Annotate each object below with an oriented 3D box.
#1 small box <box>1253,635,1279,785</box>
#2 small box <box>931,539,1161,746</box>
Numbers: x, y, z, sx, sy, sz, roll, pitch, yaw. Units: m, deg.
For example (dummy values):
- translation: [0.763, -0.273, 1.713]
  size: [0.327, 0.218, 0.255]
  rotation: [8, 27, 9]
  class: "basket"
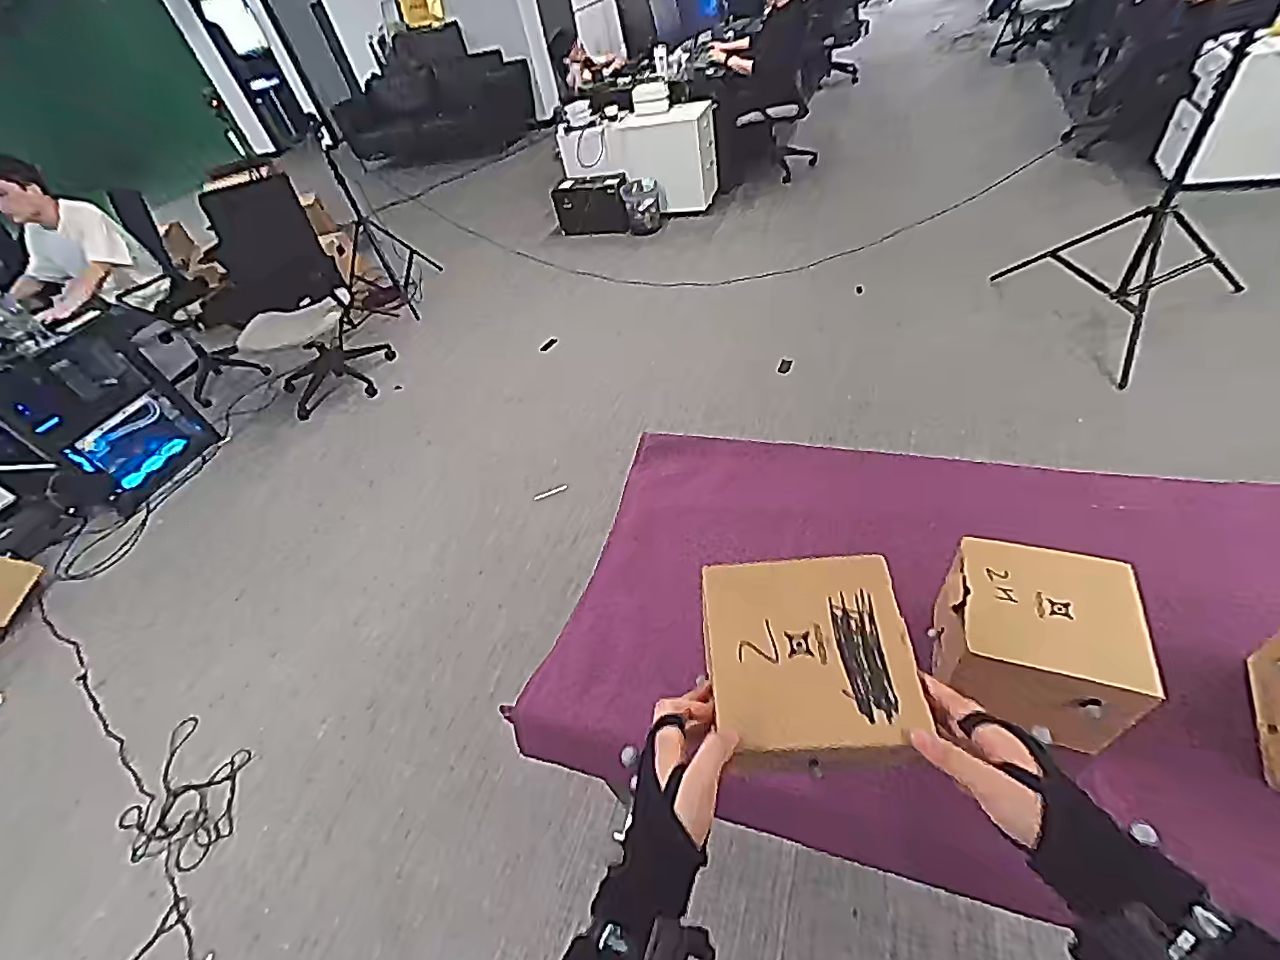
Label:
- translation: [0.778, 0.242, 0.542]
  size: [0.179, 0.176, 0.168]
  rotation: [15, 51, 27]
  class: "small box"
- translation: [0.474, 0.200, 0.664]
  size: [0.179, 0.176, 0.168]
  rotation: [9, 48, 22]
  class: "small box"
